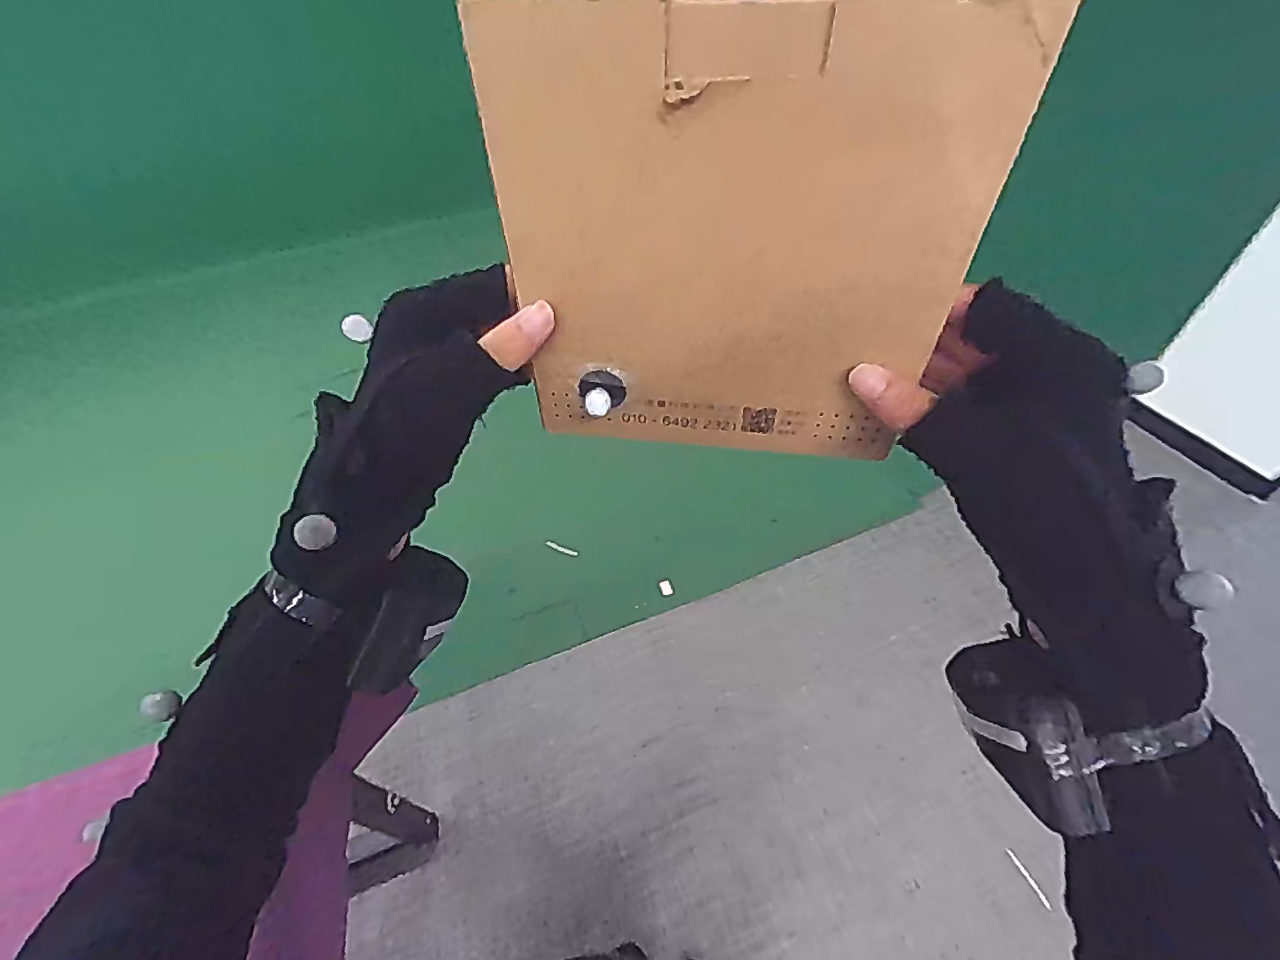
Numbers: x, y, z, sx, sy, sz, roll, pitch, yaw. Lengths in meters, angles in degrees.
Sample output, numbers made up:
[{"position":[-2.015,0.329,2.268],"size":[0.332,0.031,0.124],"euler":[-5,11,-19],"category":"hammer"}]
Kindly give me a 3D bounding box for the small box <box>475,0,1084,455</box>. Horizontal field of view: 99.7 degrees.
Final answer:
[{"position":[0.048,-0.130,0.257],"size":[0.168,0.176,0.179],"euler":[6,47,7],"category":"small box"}]
